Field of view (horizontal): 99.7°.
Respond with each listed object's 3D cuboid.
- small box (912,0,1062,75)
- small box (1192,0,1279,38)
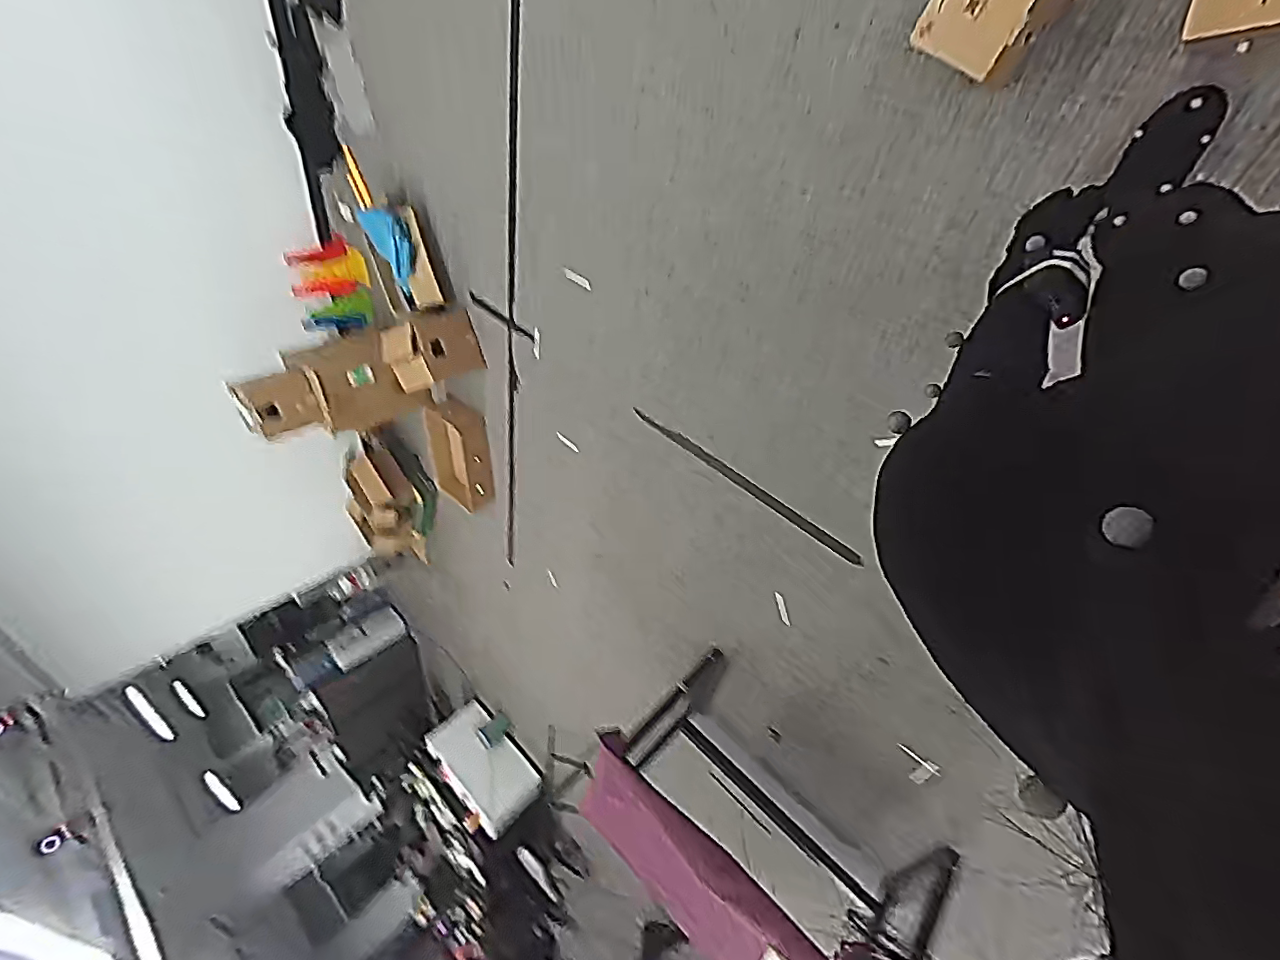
[{"bbox_3d":[0.661,-0.888,1.009,0.179,0.176,0.168,46,140,17],"label":"small box"},{"bbox_3d":[0.940,-0.770,0.777,0.168,0.176,0.179,20,128,39],"label":"small box"}]
